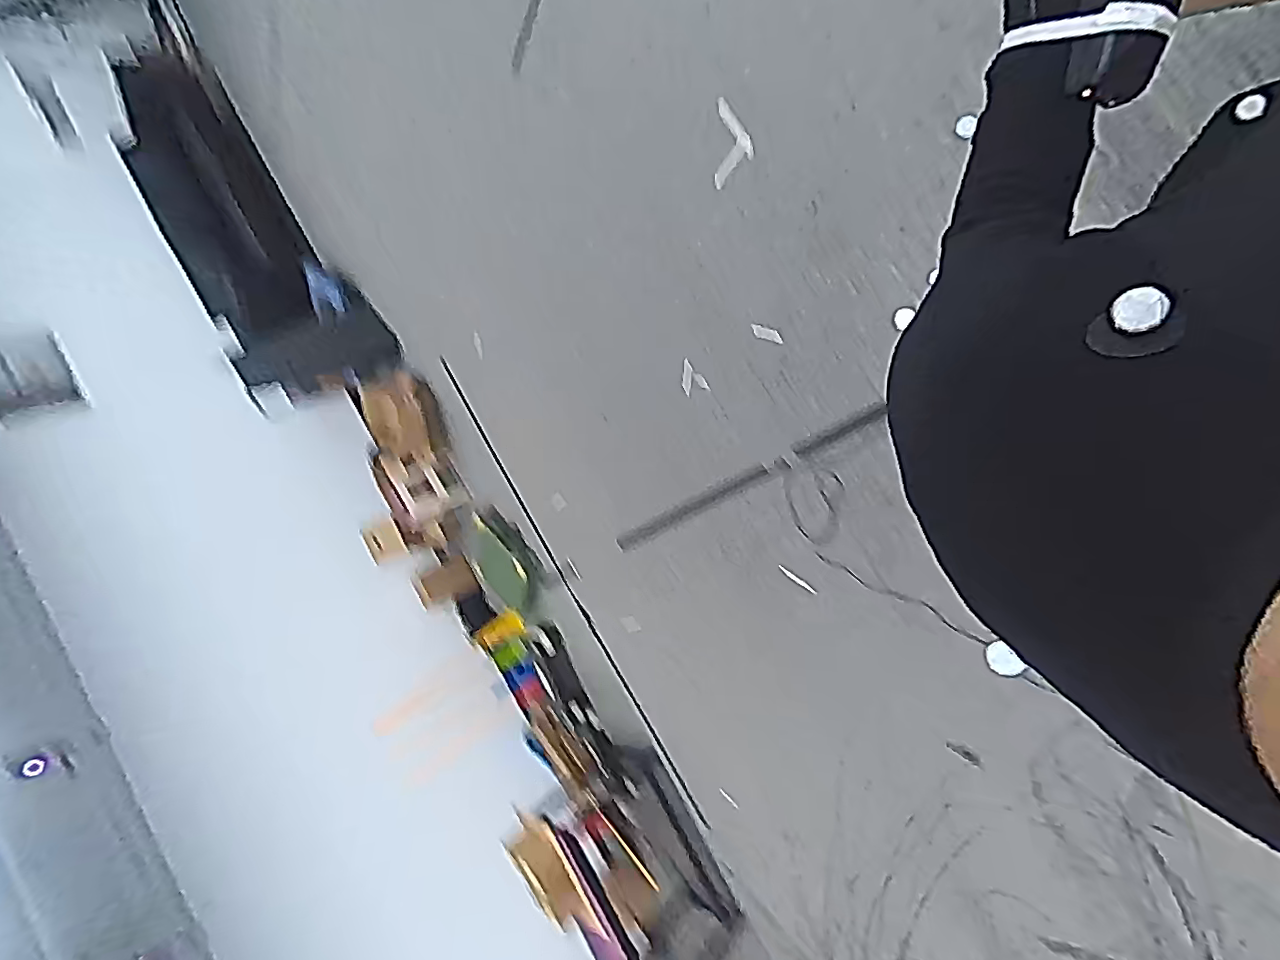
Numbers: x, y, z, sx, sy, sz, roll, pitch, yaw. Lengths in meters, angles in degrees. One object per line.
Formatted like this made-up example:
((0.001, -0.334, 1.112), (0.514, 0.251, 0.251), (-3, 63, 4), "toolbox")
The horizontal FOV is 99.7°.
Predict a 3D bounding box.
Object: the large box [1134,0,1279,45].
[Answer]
((0.526, -0.455, 0.240), (0.408, 0.320, 0.320), (18, 126, 40), "large box")
